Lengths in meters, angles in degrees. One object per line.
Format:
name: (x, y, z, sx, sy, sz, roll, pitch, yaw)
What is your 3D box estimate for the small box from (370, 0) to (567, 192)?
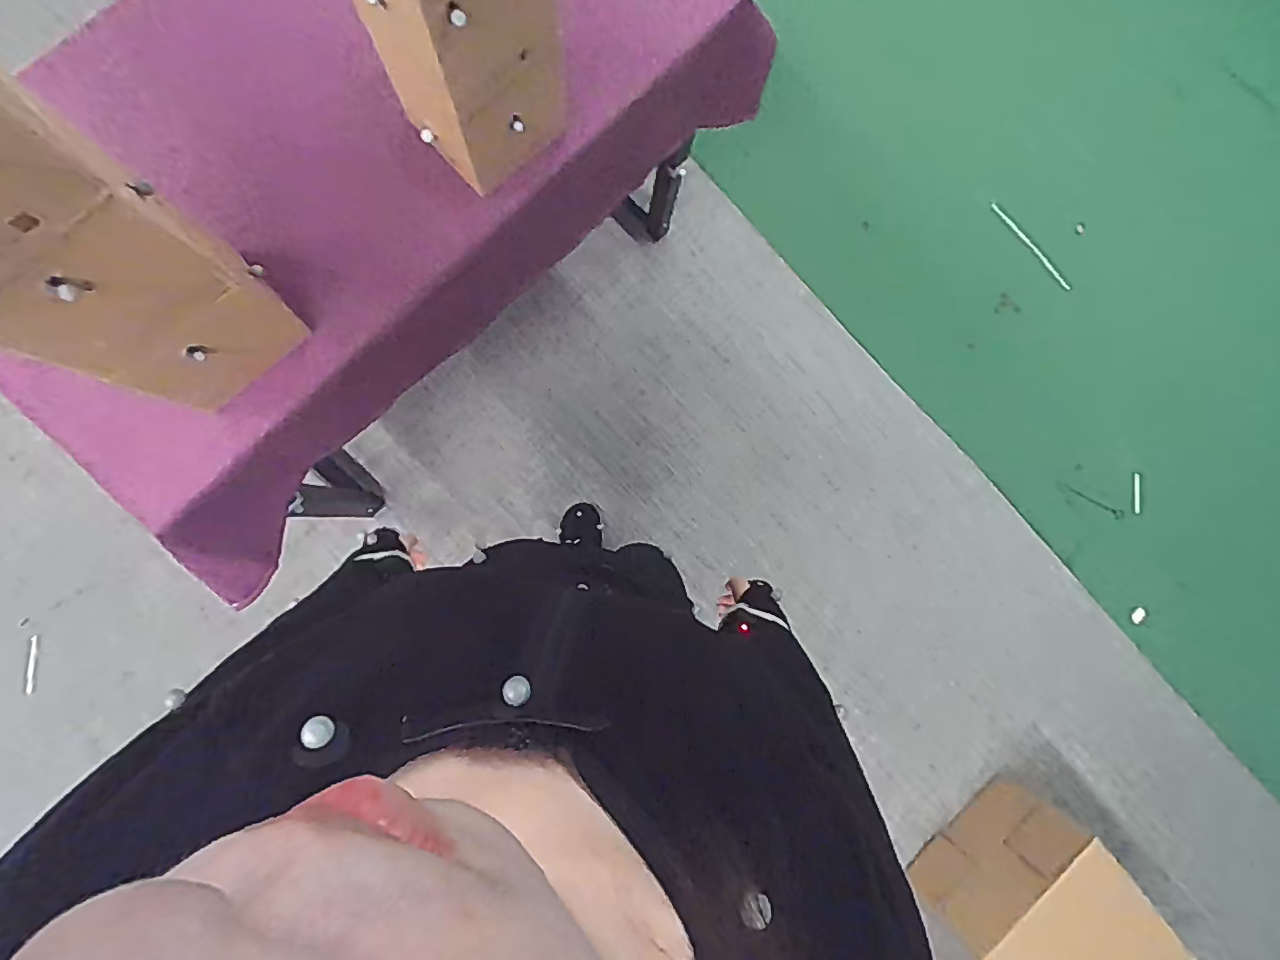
small box: (-0.216, -0.544, 0.734, 0.179, 0.176, 0.168, -43, 90, -6)

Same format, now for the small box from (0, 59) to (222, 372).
small box: (-0.552, -0.233, 0.513, 0.179, 0.176, 0.168, -43, 91, -6)

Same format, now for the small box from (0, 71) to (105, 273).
small box: (-0.532, -0.245, 0.351, 0.179, 0.176, 0.168, 45, 83, 0)

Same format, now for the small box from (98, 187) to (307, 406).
small box: (-0.571, -0.216, 0.674, 0.179, 0.176, 0.168, -42, 91, -7)
